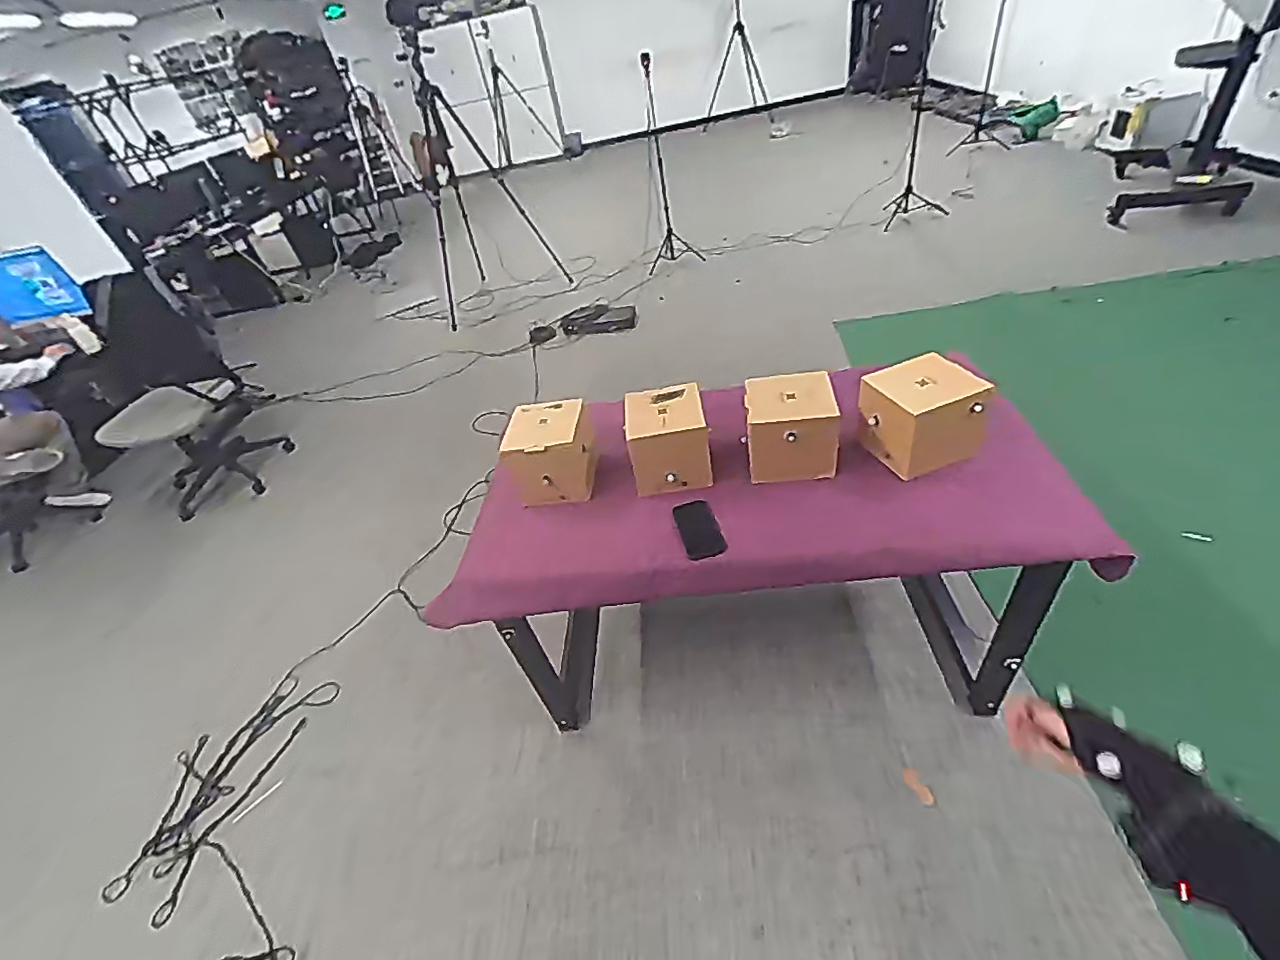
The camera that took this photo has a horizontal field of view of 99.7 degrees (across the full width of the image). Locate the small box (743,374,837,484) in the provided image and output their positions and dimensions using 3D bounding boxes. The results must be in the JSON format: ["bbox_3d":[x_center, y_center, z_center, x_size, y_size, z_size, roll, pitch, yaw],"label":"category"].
[{"bbox_3d":[0.319,-0.105,1.160,0.179,0.176,0.168,-4,41,11],"label":"small box"}]

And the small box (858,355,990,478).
[{"bbox_3d":[0.572,-0.128,1.113,0.179,0.176,0.168,-20,39,-7],"label":"small box"}]

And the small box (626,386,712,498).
[{"bbox_3d":[0.064,-0.085,1.207,0.168,0.176,0.179,-9,41,6],"label":"small box"}]

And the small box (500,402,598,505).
[{"bbox_3d":[-0.200,-0.055,1.249,0.168,0.176,0.179,-5,41,9],"label":"small box"}]
